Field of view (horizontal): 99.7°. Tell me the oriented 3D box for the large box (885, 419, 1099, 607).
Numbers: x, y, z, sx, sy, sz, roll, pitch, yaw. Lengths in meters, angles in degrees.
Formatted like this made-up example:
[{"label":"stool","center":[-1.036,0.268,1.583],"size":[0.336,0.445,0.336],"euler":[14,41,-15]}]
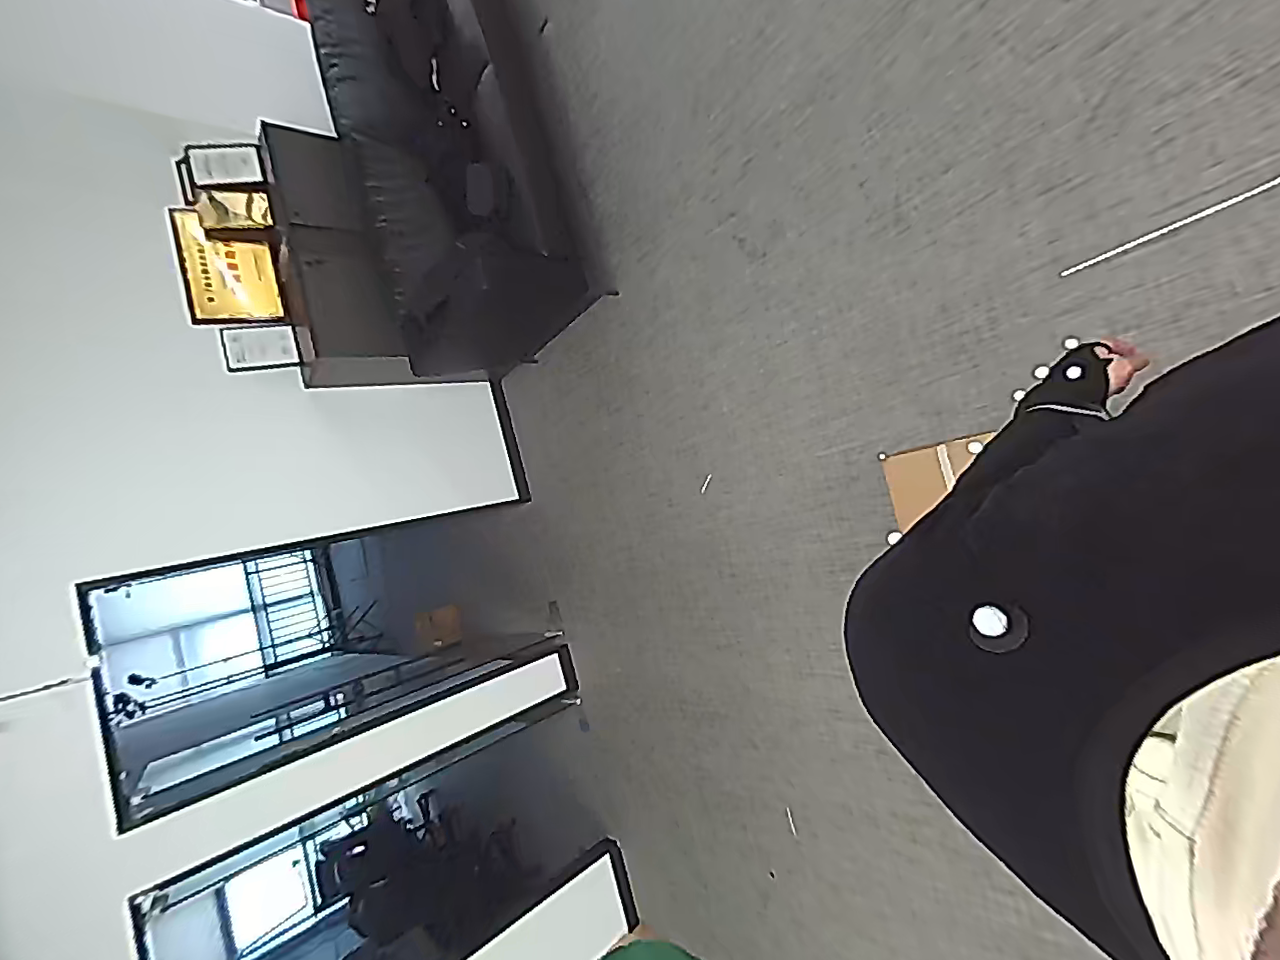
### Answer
[{"label":"large box","center":[0.893,0.084,1.379],"size":[0.320,0.320,0.408],"euler":[-18,84,50]}]
